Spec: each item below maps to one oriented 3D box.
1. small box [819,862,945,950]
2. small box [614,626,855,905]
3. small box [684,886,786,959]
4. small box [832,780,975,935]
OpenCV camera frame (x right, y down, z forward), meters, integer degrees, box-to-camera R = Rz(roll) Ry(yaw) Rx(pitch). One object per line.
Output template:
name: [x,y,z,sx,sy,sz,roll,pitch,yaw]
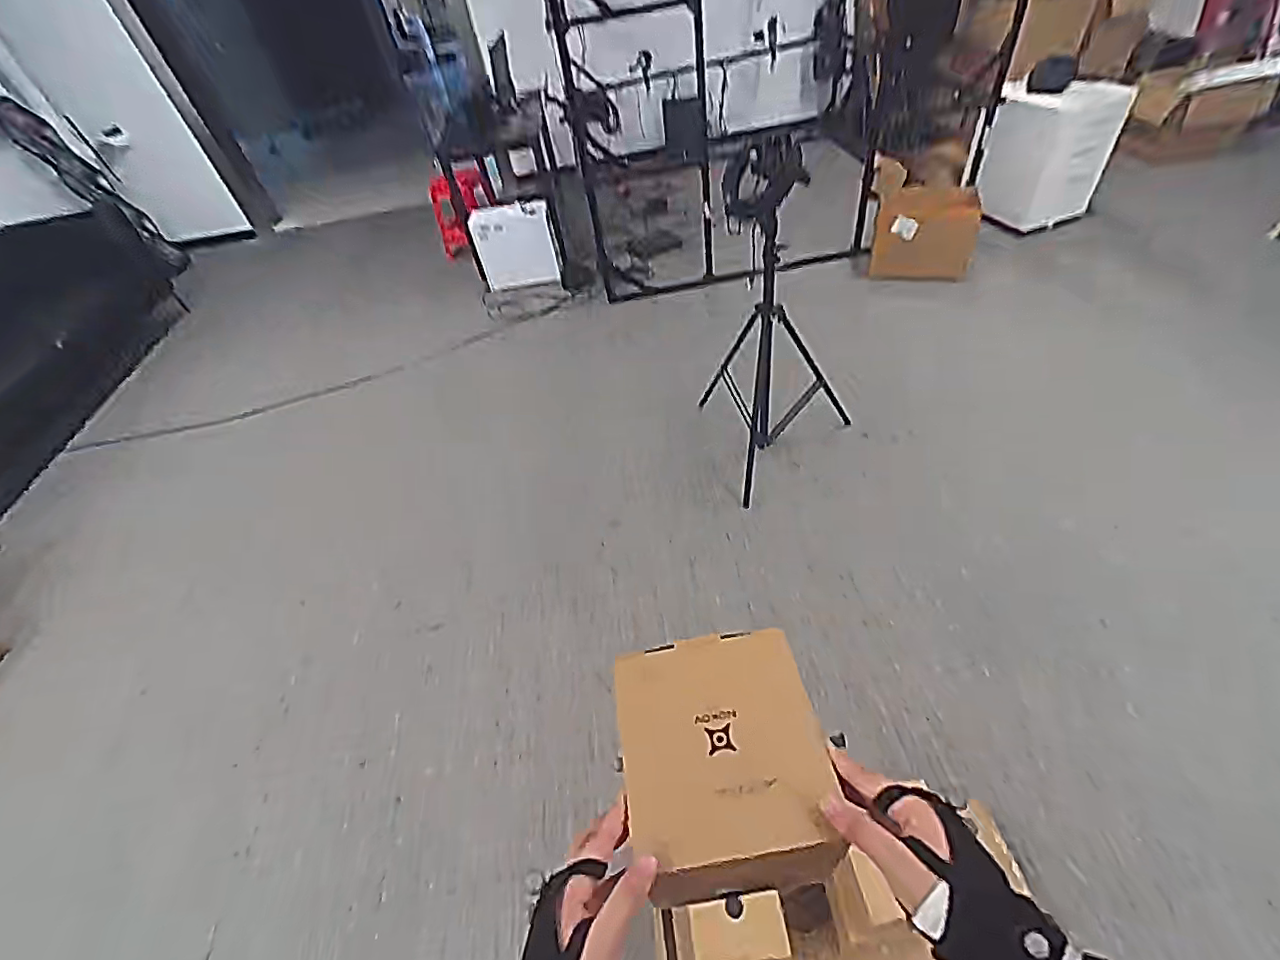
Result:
small box: [0.438,0.767,1.026,0.168,0.176,0.179,-8,46,4]
small box: [0.073,0.266,0.505,0.168,0.176,0.179,-11,47,-1]
small box: [0.173,0.813,1.029,0.168,0.176,0.179,-10,46,2]
small box: [0.420,0.641,0.918,0.168,0.176,0.179,-12,45,0]
